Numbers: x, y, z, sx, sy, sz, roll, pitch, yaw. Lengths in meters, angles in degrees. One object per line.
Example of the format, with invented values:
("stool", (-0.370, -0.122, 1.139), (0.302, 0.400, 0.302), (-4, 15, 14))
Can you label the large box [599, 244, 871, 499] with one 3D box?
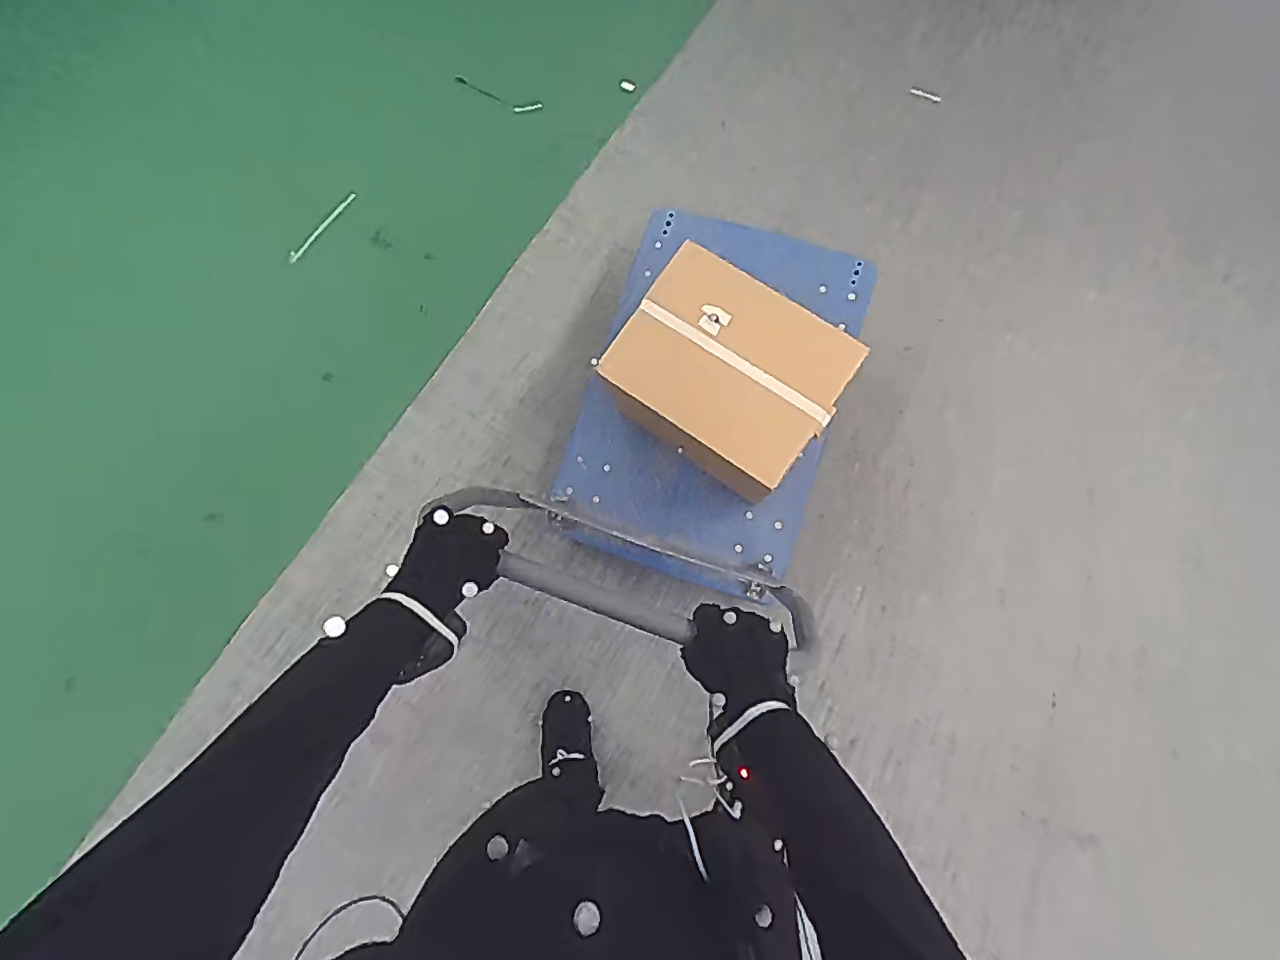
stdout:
("large box", (0.188, -0.201, 1.134), (0.408, 0.320, 0.320), (35, 88, 11))
